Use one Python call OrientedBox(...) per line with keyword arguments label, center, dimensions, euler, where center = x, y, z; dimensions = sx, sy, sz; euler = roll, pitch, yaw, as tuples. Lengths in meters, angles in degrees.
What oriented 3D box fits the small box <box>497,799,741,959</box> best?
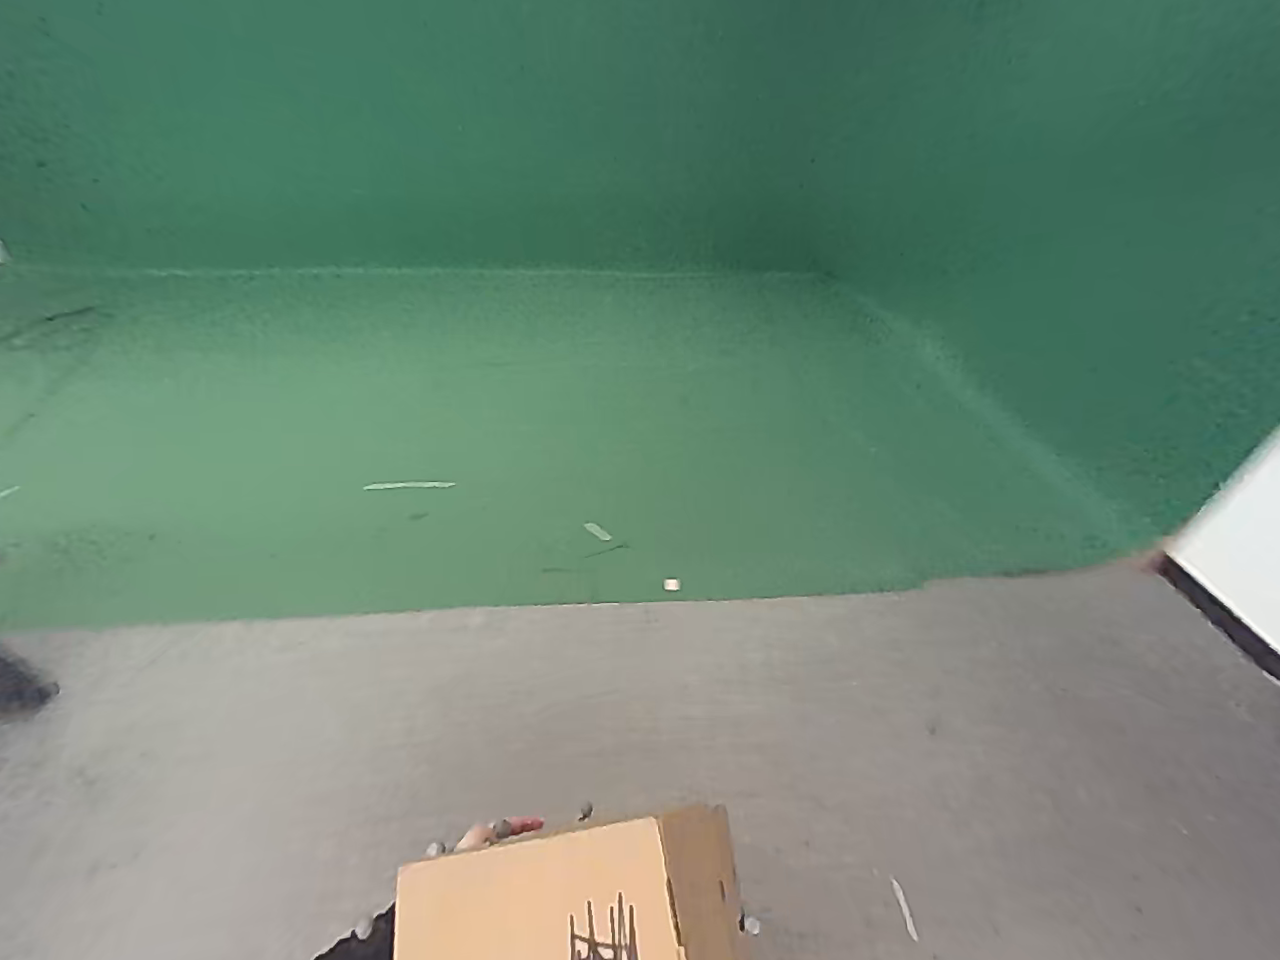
OrientedBox(label="small box", center=(-0.013, 0.400, 0.496), dimensions=(0.179, 0.176, 0.168), euler=(-13, 61, 9))
